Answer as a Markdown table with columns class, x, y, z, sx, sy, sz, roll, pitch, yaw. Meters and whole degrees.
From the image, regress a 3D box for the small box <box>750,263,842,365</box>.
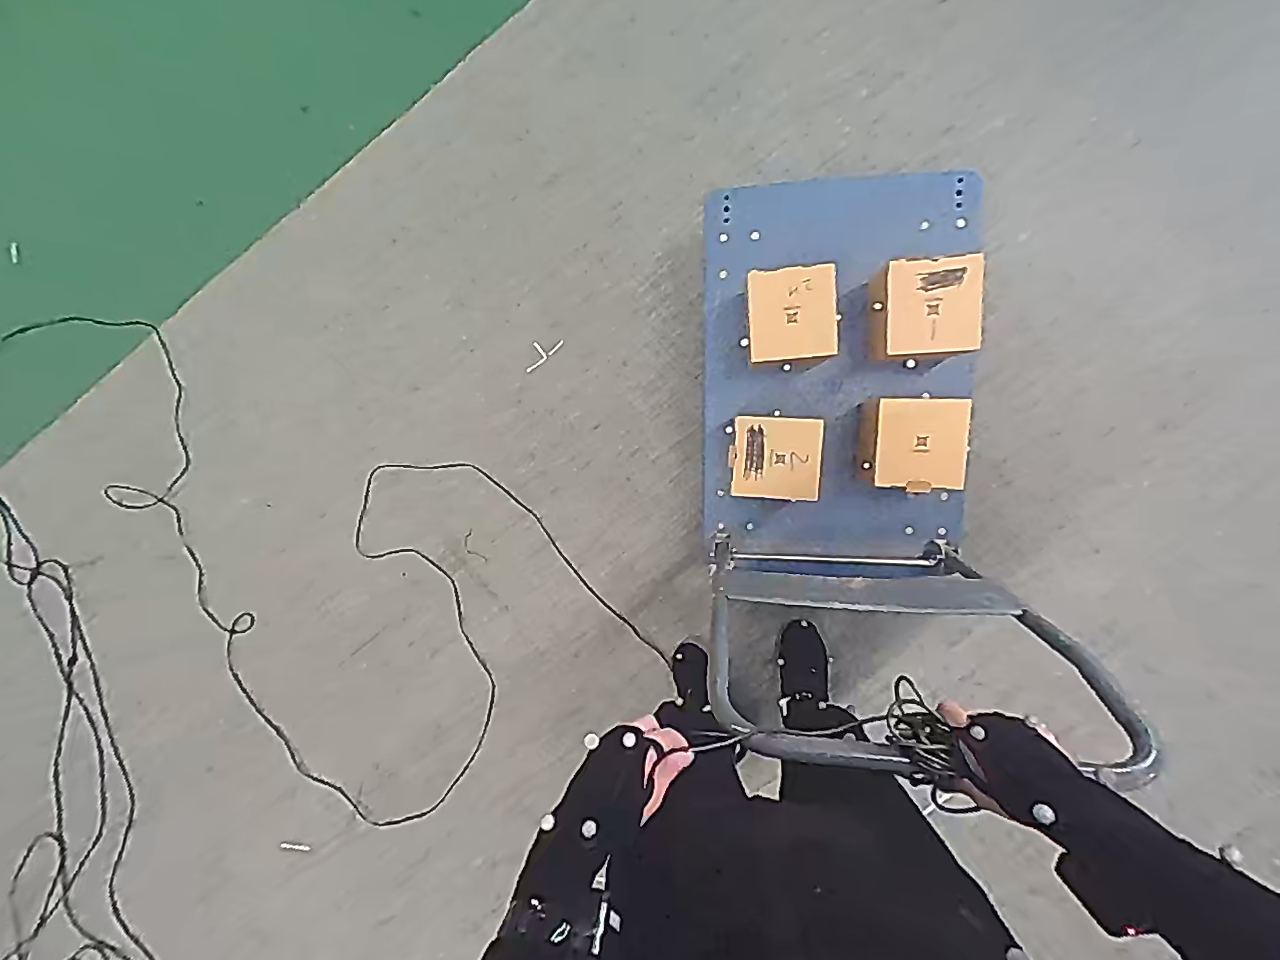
| class | x | y | z | sx | sy | sz | roll | pitch | yaw |
| --- | --- | --- | --- | --- | --- | --- | --- | --- | --- |
| small box | 0.317 | -0.334 | 1.121 | 0.168 | 0.176 | 0.179 | -2 | 97 | 9 |

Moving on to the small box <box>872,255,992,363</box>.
| class | x | y | z | sx | sy | sz | roll | pitch | yaw |
| --- | --- | --- | --- | --- | --- | --- | --- | --- | --- |
| small box | 0.569 | -0.331 | 1.076 | 0.168 | 0.176 | 0.179 | 0 | 98 | 10 |

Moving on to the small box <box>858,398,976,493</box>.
| class | x | y | z | sx | sy | sz | roll | pitch | yaw |
| --- | --- | --- | --- | --- | --- | --- | --- | --- | --- |
| small box | 0.558 | -0.077 | 1.112 | 0.168 | 0.176 | 0.179 | 3 | 99 | 9 |
